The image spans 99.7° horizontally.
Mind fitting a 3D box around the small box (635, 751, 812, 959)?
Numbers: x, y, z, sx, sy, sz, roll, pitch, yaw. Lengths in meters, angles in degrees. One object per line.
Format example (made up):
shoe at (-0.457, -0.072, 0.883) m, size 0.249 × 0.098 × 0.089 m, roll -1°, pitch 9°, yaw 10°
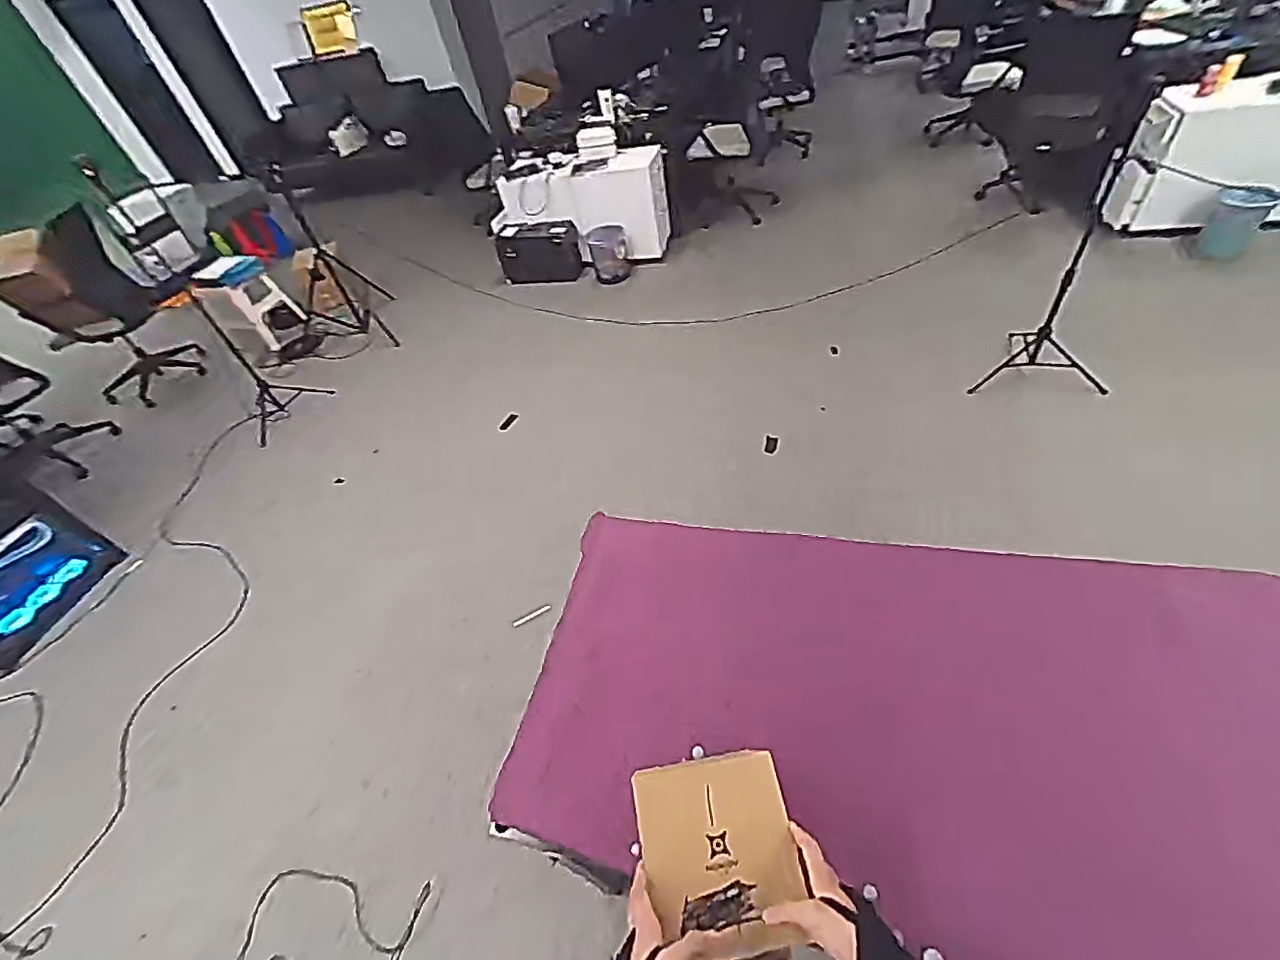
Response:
small box at (0.089, 0.438, 0.657) m, size 0.168 × 0.176 × 0.179 m, roll -8°, pitch 63°, yaw -2°
